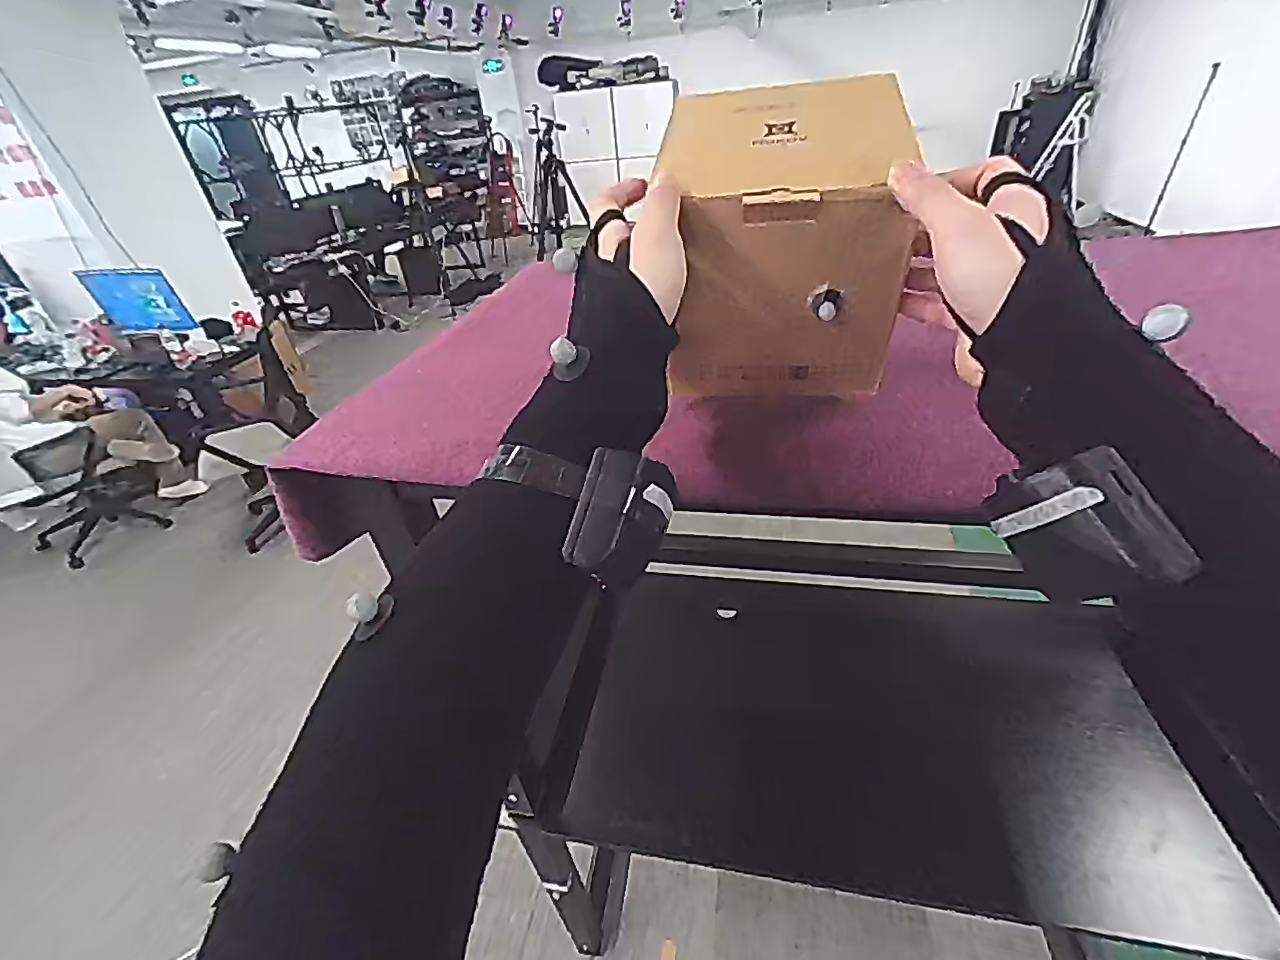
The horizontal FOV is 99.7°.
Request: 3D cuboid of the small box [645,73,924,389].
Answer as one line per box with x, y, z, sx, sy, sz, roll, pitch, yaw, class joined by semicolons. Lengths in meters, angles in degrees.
0.108;-0.188;0.431;0.168;0.176;0.179;3;52;12;small box
